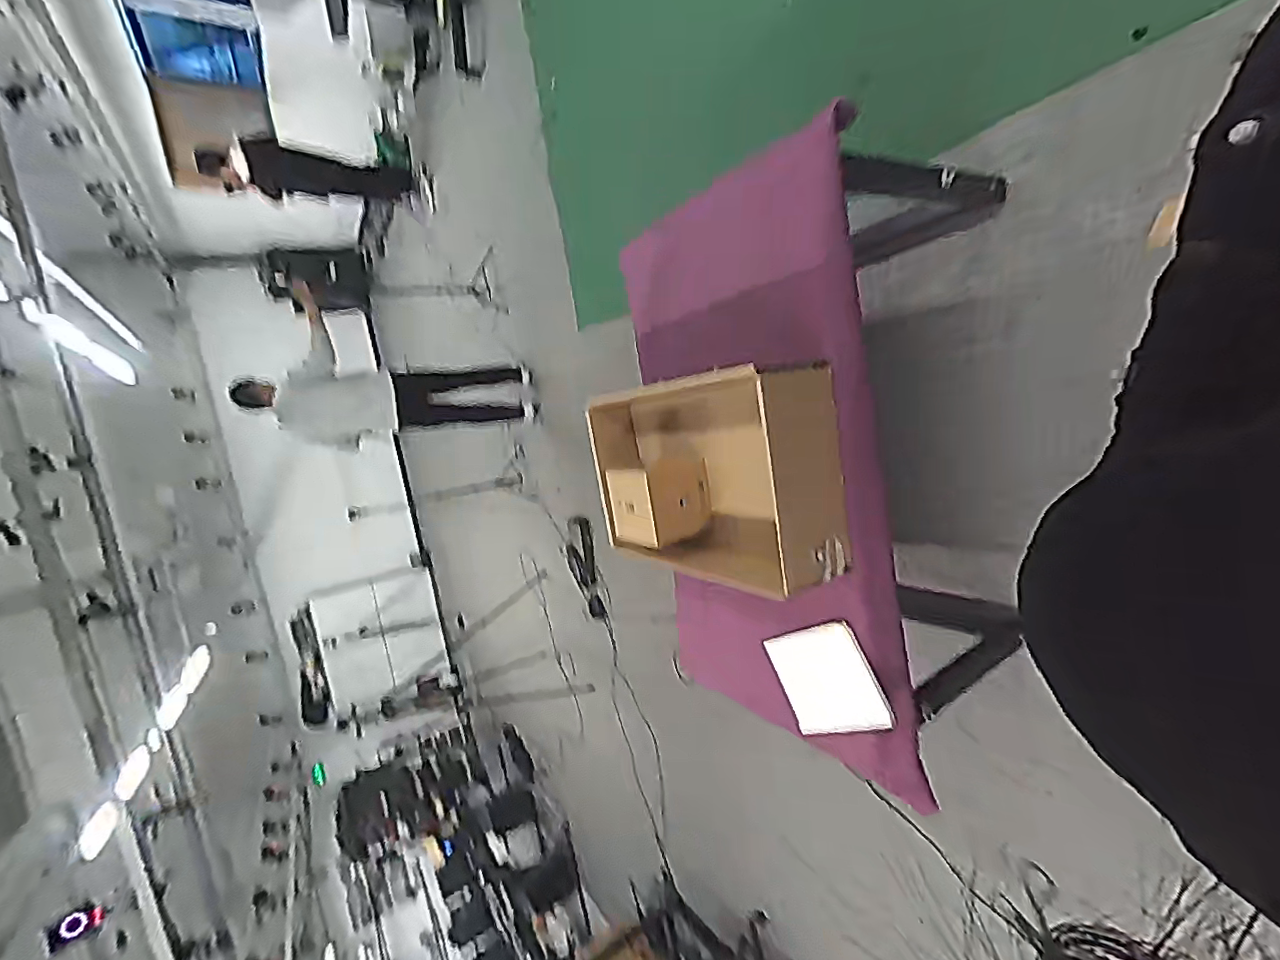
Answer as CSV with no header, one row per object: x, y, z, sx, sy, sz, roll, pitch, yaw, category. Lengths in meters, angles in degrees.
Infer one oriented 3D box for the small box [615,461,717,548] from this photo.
0.066,0.050,1.275,0.179,0.176,0.168,2,104,57,small box
